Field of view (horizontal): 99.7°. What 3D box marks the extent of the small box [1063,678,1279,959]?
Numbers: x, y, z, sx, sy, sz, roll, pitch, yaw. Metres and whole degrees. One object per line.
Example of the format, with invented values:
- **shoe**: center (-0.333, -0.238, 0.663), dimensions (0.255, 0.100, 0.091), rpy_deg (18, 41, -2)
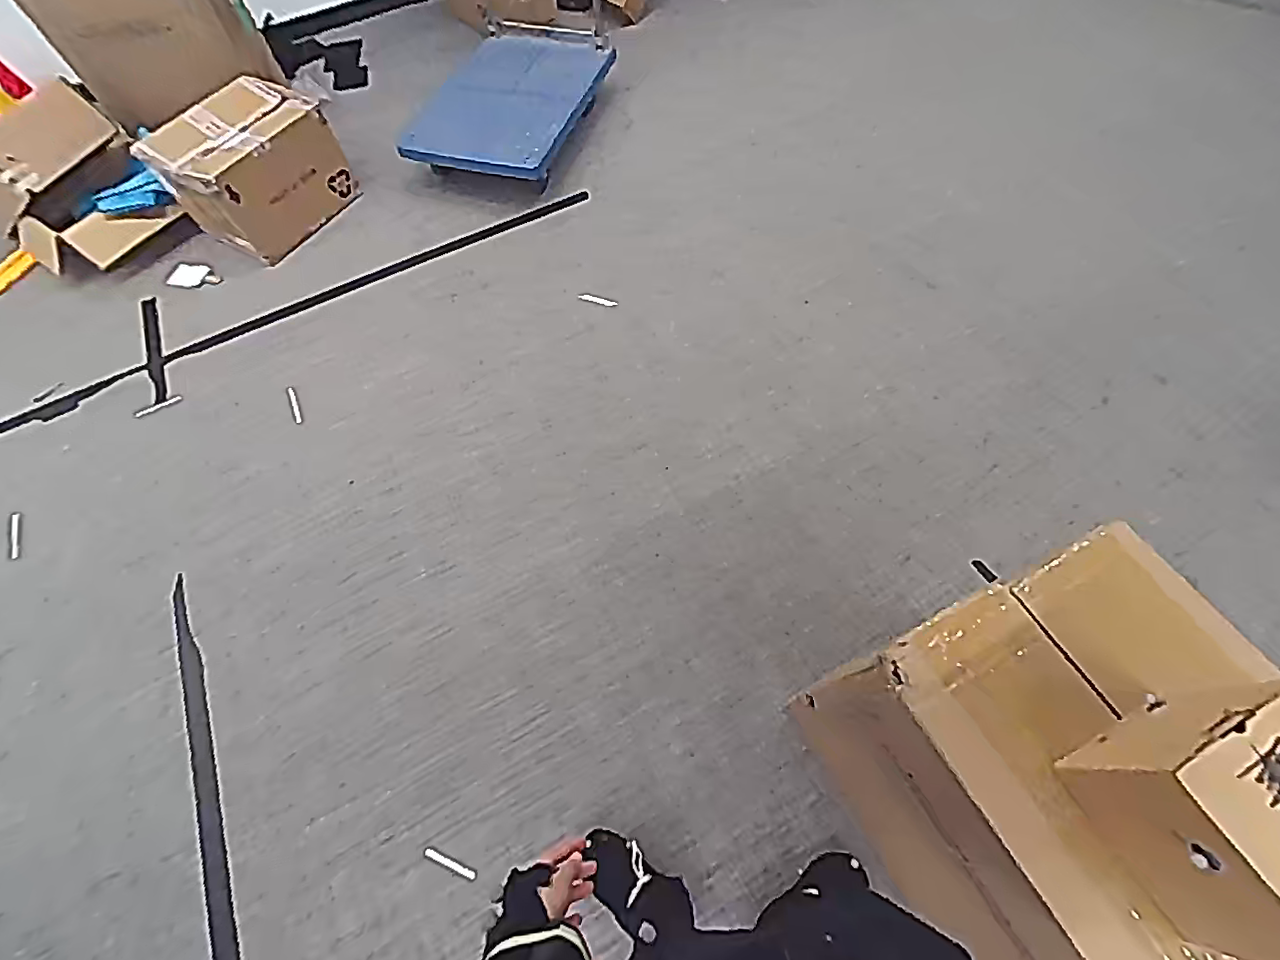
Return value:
- **small box**: center (0.566, 0.314, 0.509), dimensions (0.168, 0.176, 0.179), rpy_deg (-26, 64, -9)
